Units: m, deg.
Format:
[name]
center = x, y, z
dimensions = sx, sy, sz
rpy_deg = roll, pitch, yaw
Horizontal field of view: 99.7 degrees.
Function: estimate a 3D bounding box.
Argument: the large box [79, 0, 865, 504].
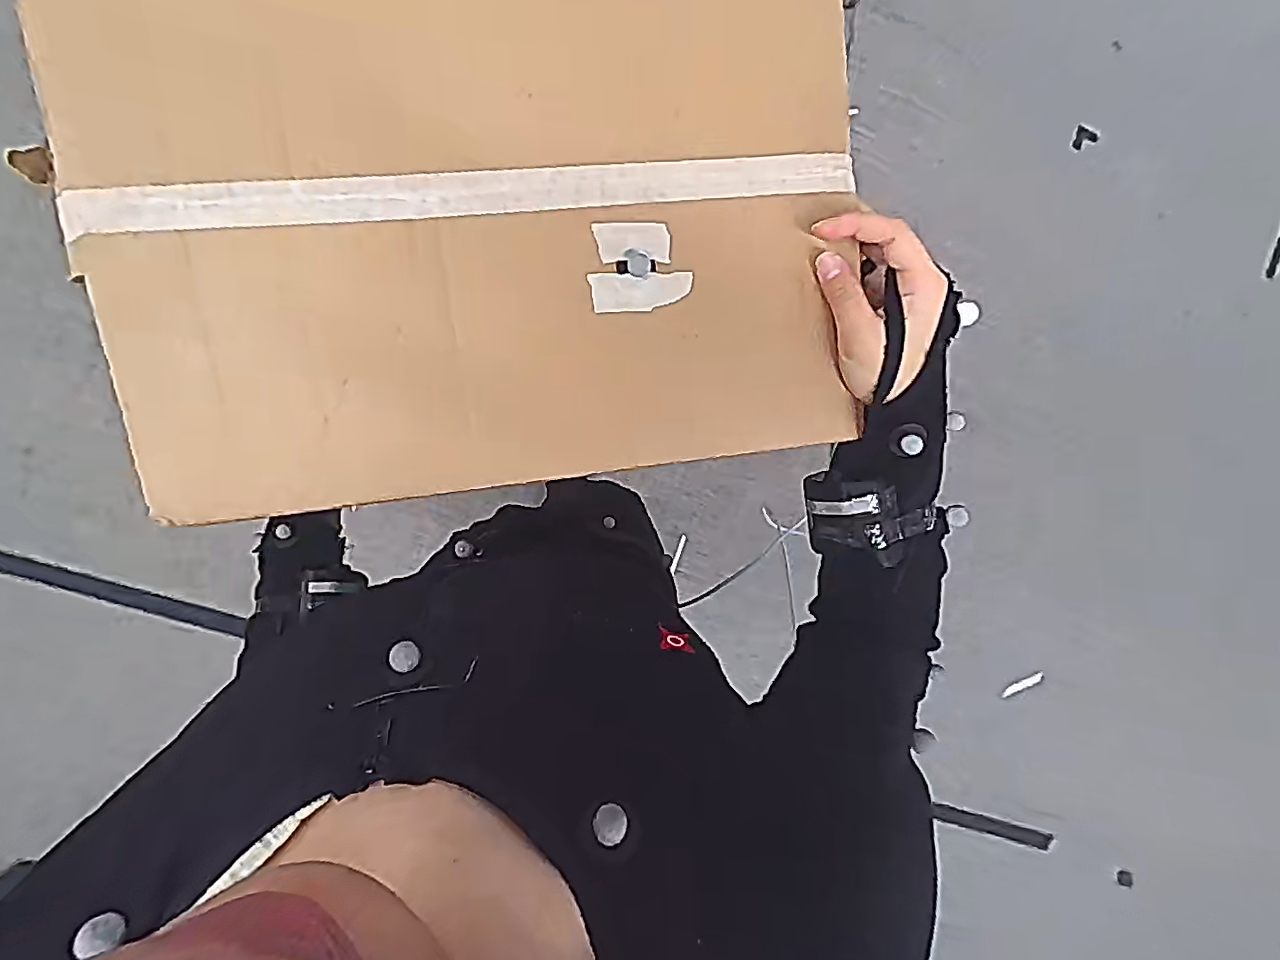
[large box]
center = -0.090, -0.180, 0.444
dimensions = 0.408, 0.320, 0.320
rpy_deg = -7, 99, -10
